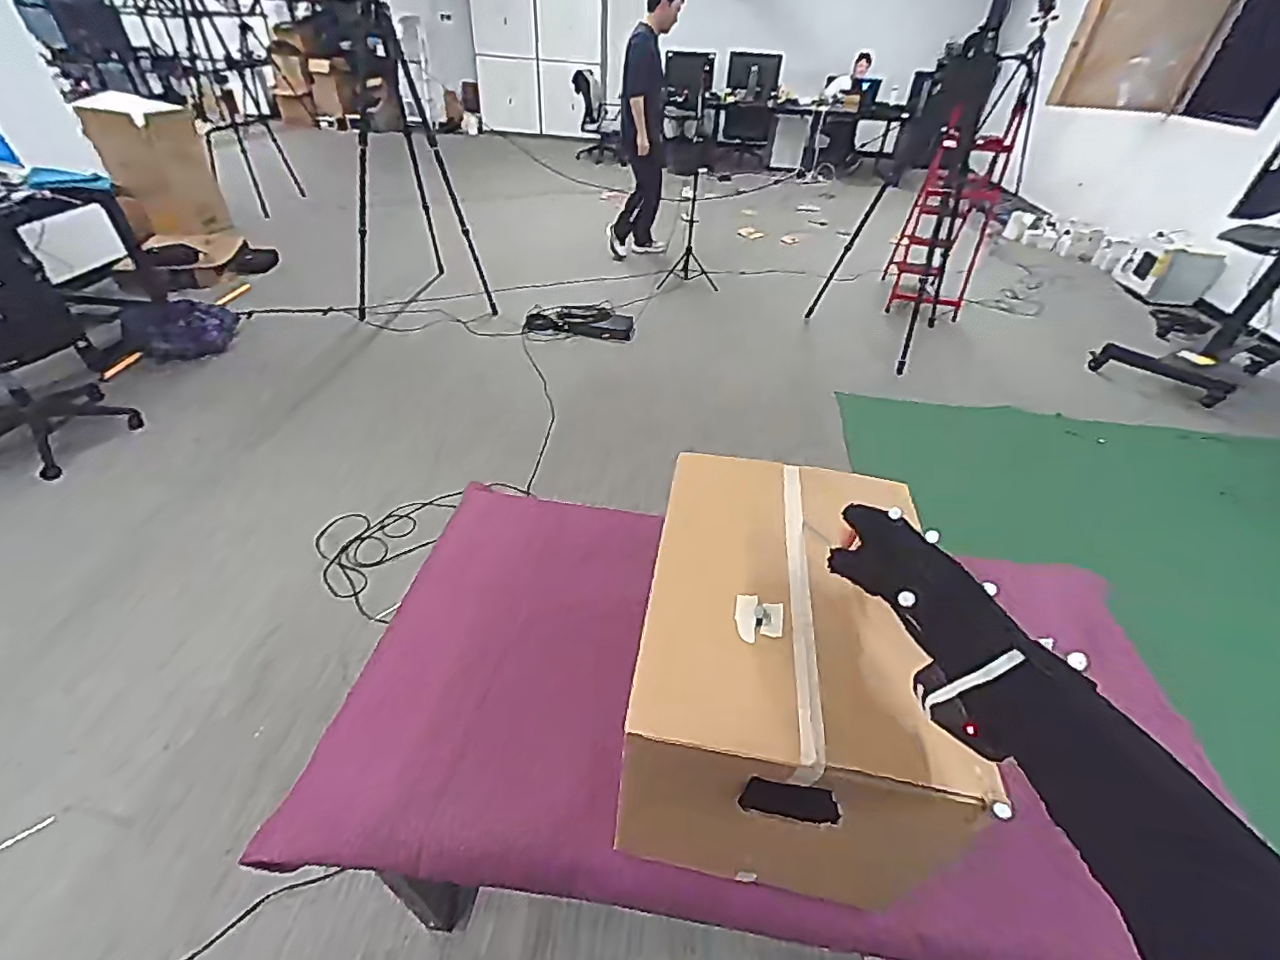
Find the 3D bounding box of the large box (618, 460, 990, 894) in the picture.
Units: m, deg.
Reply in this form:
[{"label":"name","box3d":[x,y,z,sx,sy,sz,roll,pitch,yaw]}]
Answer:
[{"label":"large box","box3d":[0.162,0.232,0.704,0.320,0.320,0.408,8,41,6]}]
